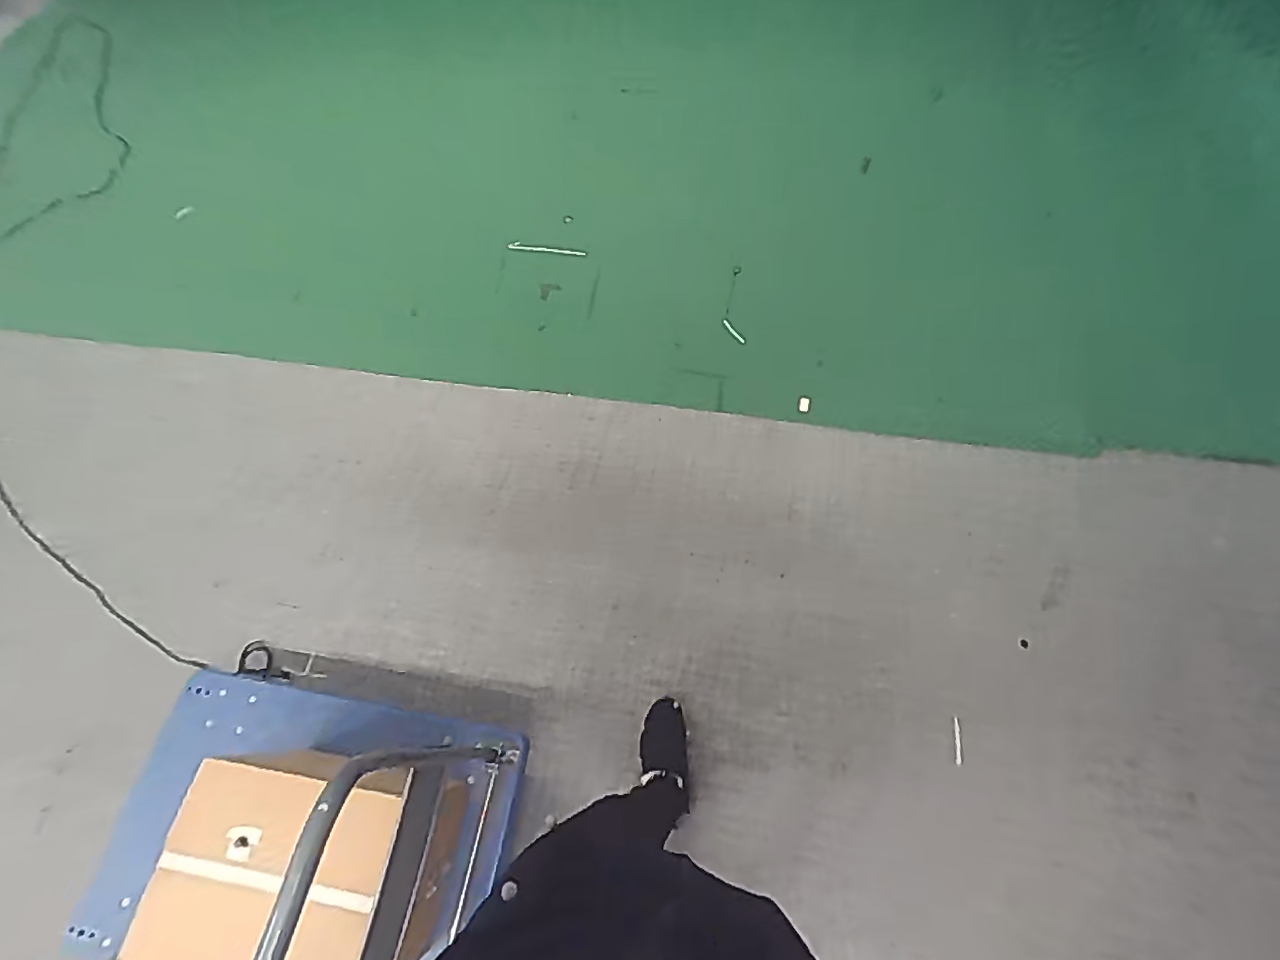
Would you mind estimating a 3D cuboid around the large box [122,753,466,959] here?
[{"bbox_3d":[-0.606,0.730,1.034,0.408,0.320,0.320,7,66,7],"label":"large box"}]
